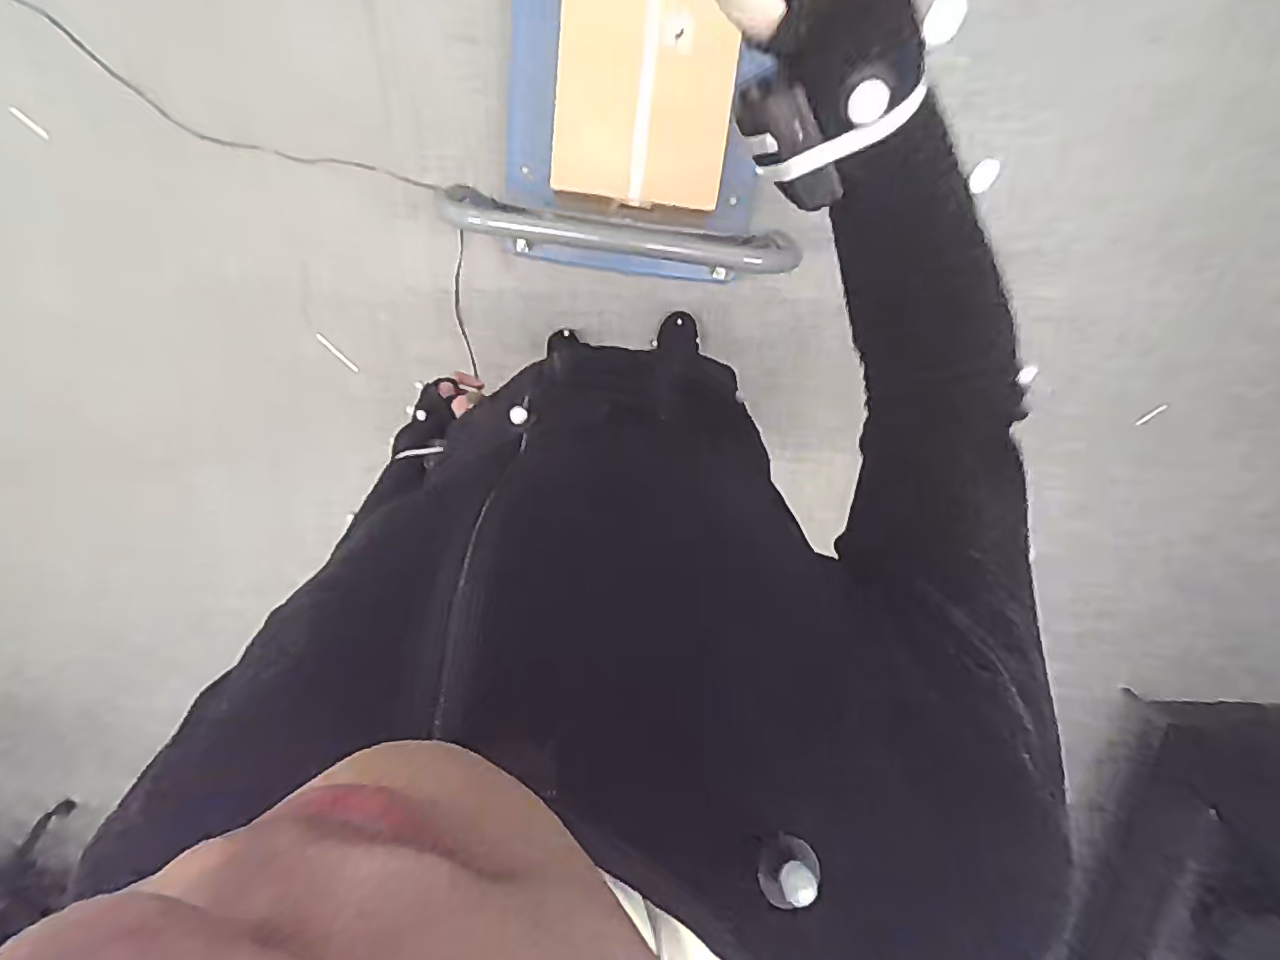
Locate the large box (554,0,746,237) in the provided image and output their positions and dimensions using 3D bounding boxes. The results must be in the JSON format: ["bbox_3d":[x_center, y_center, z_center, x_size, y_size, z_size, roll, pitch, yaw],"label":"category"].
[{"bbox_3d":[0.012,-0.745,1.100,0.320,0.320,0.408,6,106,-4],"label":"large box"}]
